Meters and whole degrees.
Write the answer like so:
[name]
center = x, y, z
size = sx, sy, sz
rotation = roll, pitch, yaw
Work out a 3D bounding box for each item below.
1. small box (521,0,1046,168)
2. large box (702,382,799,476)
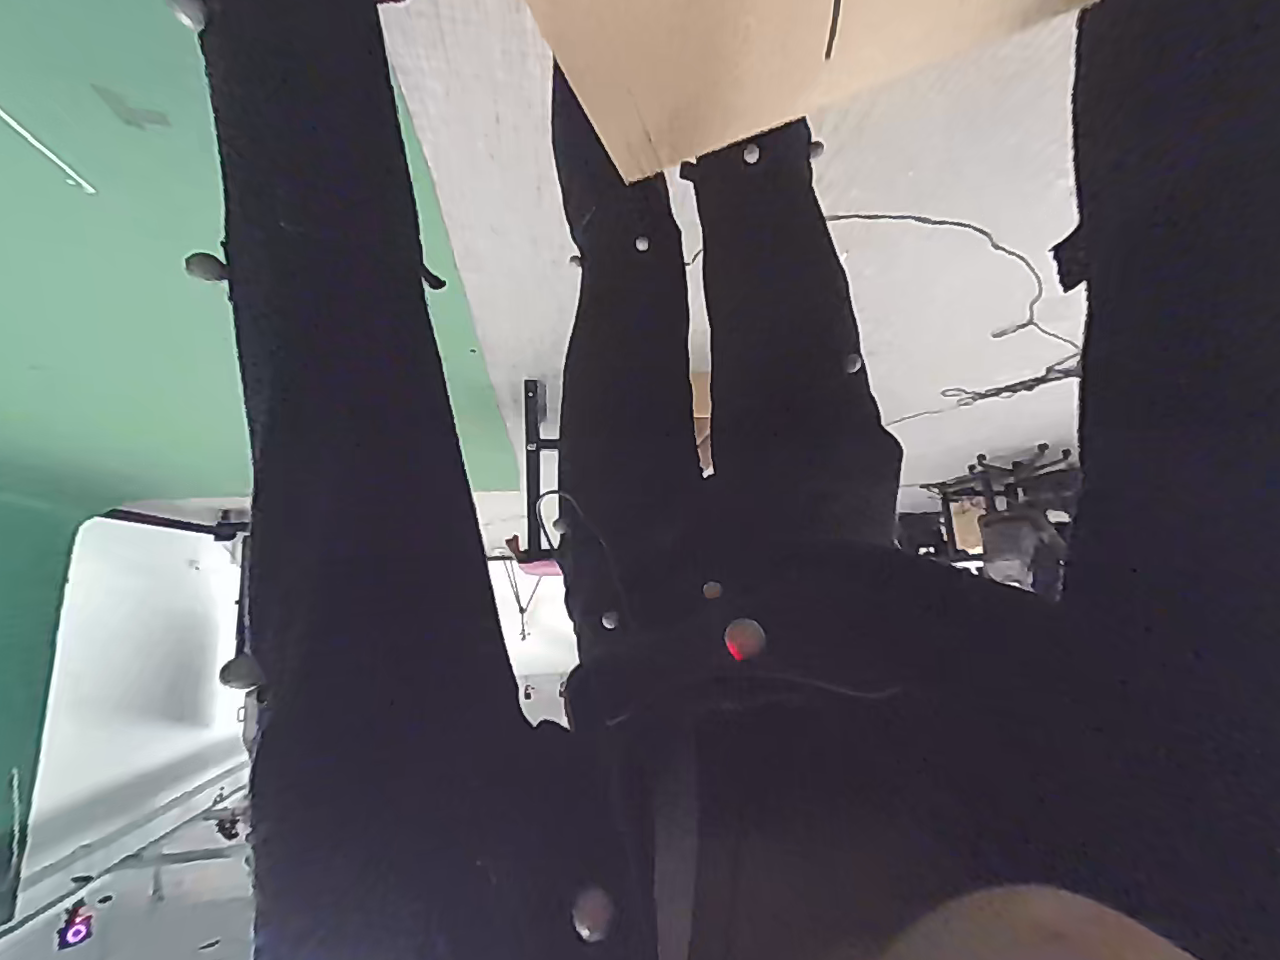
[small box]
center = 0.026, -0.227, 0.123
size = 0.168, 0.176, 0.179
rotation = -12, 170, 17
[large box]
center = 0.476, -0.215, 2.420
size = 0.320, 0.320, 0.408
rotation = -1, 167, -9
